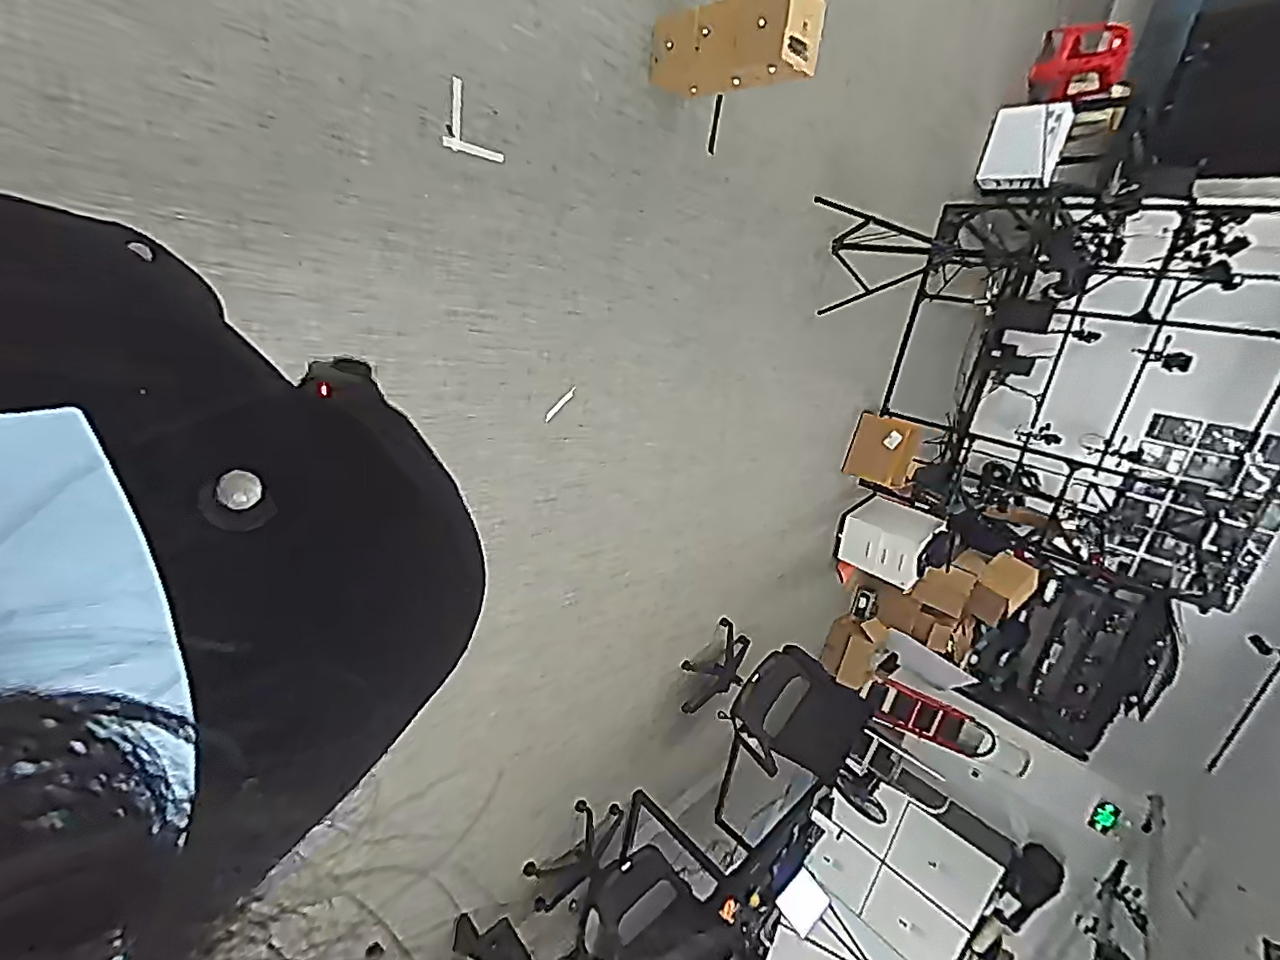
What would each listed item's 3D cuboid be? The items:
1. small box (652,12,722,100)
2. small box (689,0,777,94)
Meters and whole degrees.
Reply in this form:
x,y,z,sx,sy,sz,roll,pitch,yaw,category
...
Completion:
x,y,z,sx,sy,sz,roll,pitch,yaw,category
0.157,-1.321,1.701,0.179,0.176,0.168,-13,119,-44,small box
0.271,-1.267,1.598,0.179,0.176,0.168,-11,117,-43,small box
